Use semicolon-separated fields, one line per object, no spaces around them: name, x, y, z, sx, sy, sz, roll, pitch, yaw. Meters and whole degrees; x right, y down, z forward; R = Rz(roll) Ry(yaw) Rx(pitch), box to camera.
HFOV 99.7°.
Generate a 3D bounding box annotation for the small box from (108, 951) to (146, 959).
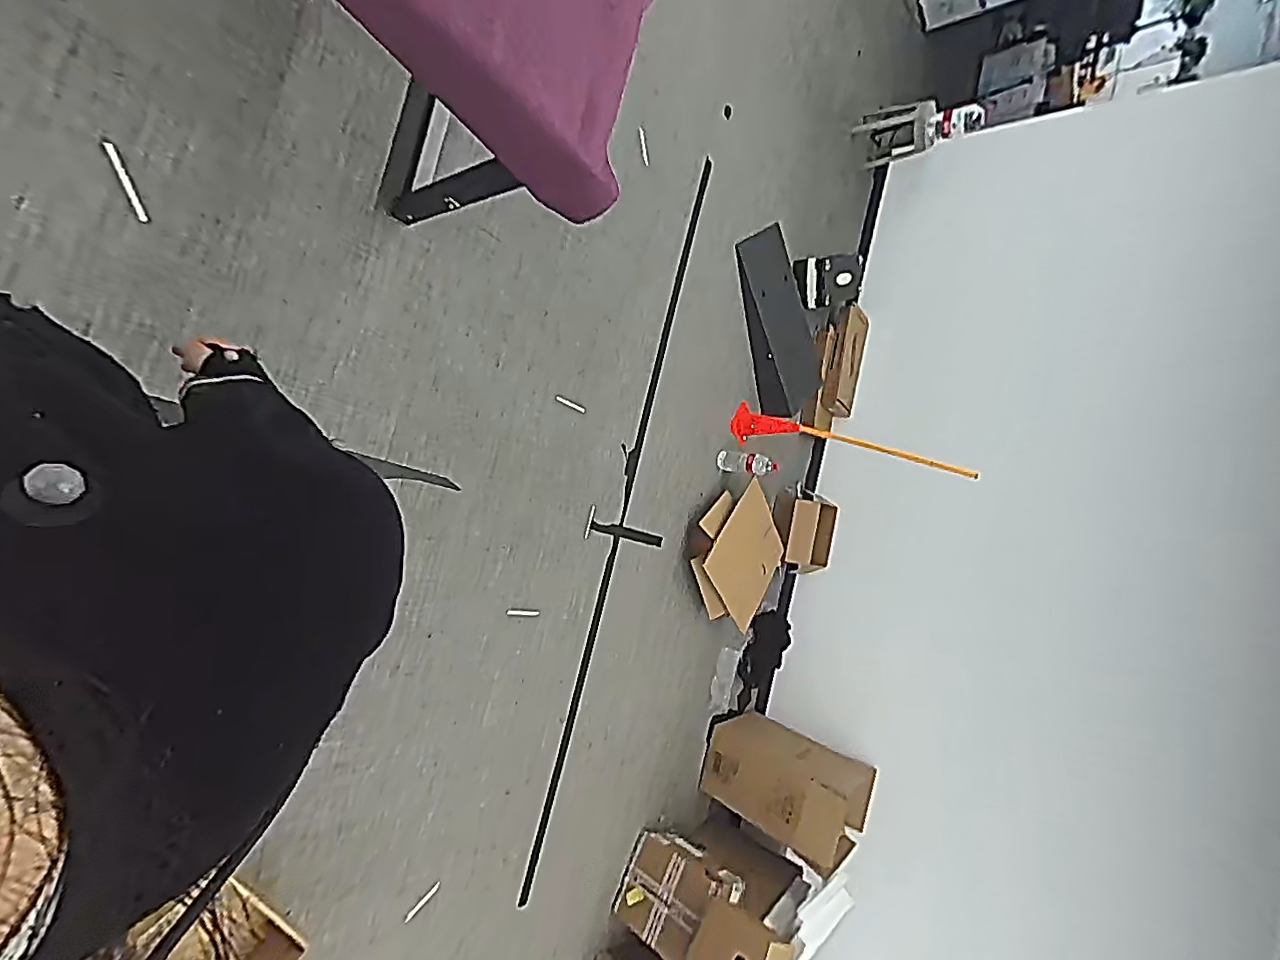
small box;-1.120;1.164;1.147;0.168;0.176;0.179;-40;127;-38
